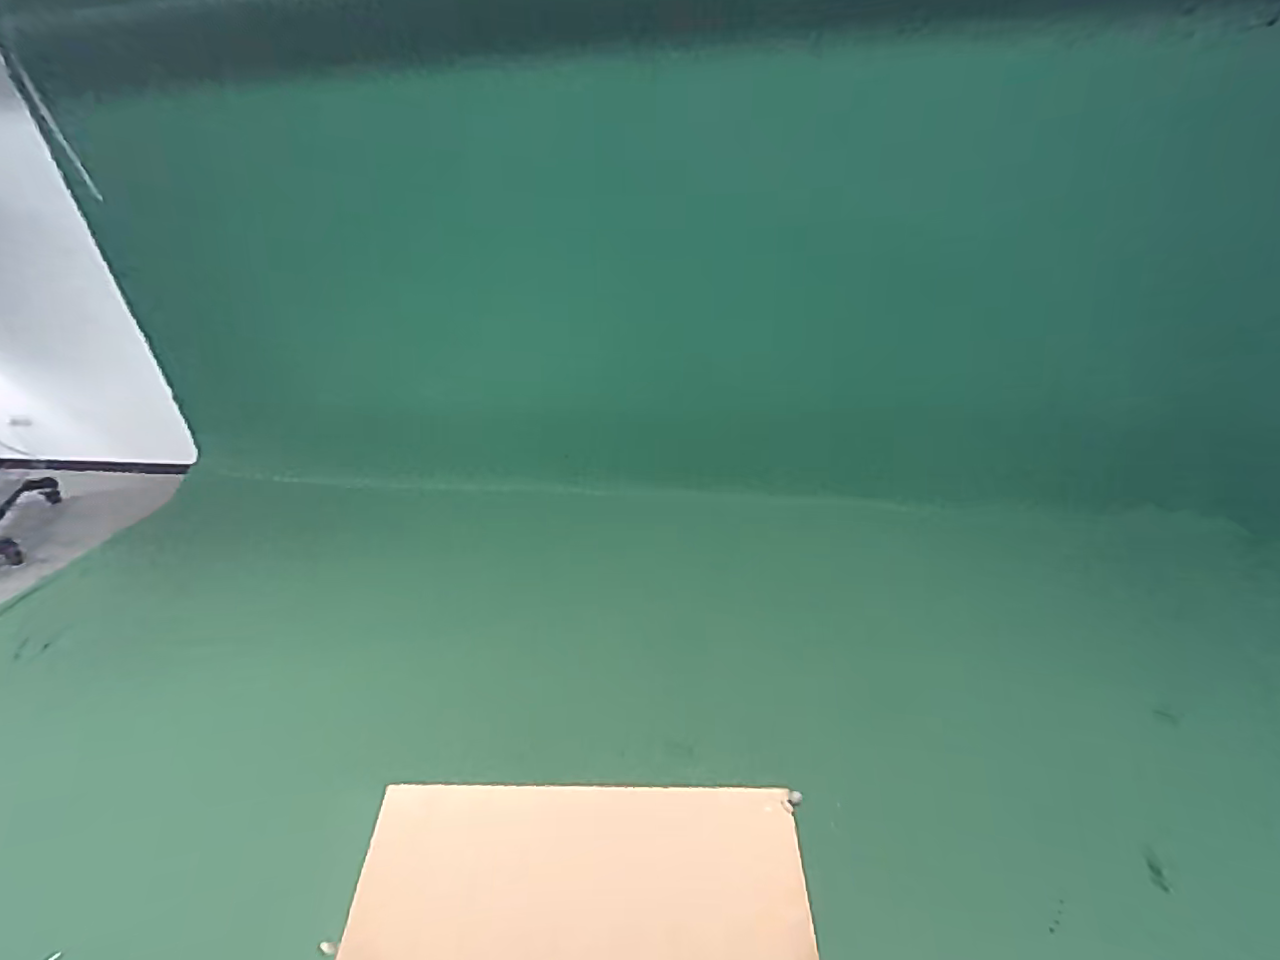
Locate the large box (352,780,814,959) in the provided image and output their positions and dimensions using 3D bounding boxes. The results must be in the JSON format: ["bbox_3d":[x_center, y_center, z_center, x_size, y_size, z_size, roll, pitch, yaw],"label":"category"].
[{"bbox_3d":[-0.058,0.527,0.557,0.408,0.320,0.320,3,46,-4],"label":"large box"}]
